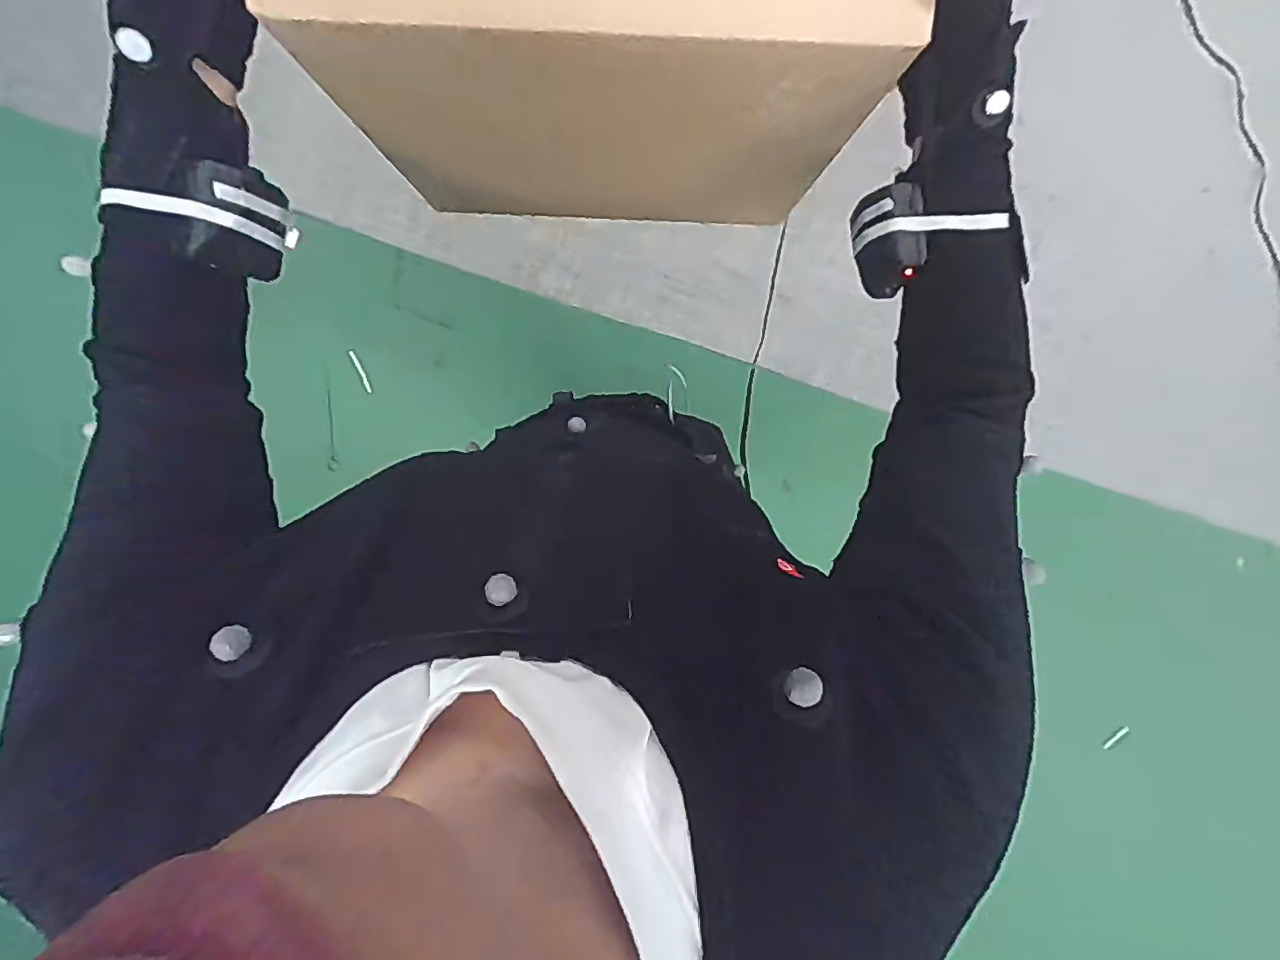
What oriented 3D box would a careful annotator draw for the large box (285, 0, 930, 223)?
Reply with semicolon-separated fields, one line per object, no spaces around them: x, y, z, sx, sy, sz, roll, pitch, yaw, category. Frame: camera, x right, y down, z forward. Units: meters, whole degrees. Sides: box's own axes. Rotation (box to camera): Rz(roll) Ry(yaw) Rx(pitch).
-0.022;-0.438;0.466;0.408;0.320;0.320;1;97;-3;large box
